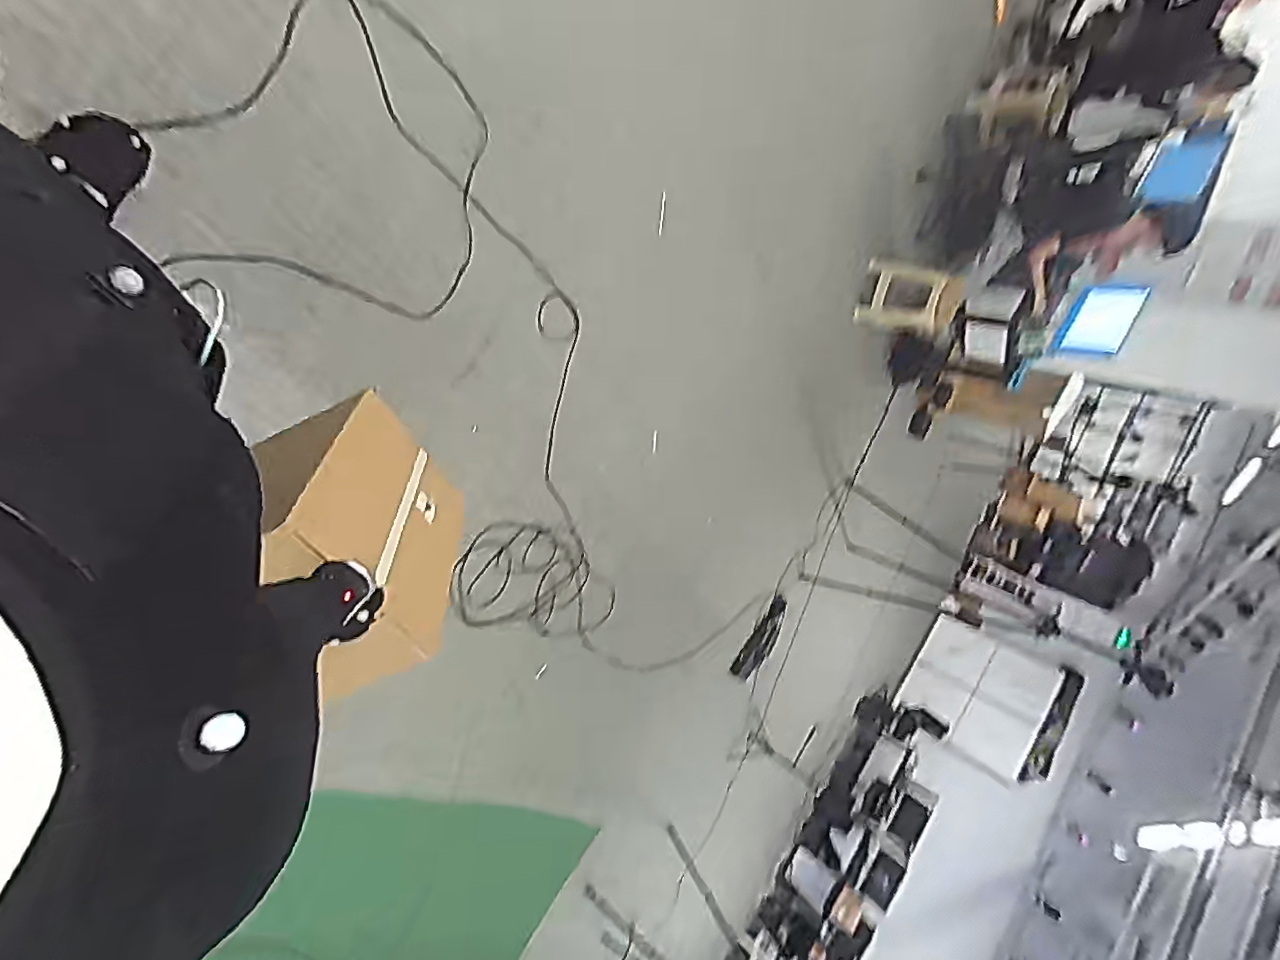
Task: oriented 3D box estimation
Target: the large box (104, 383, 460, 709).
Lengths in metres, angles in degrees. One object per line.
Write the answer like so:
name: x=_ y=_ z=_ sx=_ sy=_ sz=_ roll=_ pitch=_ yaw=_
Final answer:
large box: x=-0.551 y=0.102 z=0.937 sx=0.320 sy=0.408 sz=0.320 roll=-23 pitch=125 yaw=5
